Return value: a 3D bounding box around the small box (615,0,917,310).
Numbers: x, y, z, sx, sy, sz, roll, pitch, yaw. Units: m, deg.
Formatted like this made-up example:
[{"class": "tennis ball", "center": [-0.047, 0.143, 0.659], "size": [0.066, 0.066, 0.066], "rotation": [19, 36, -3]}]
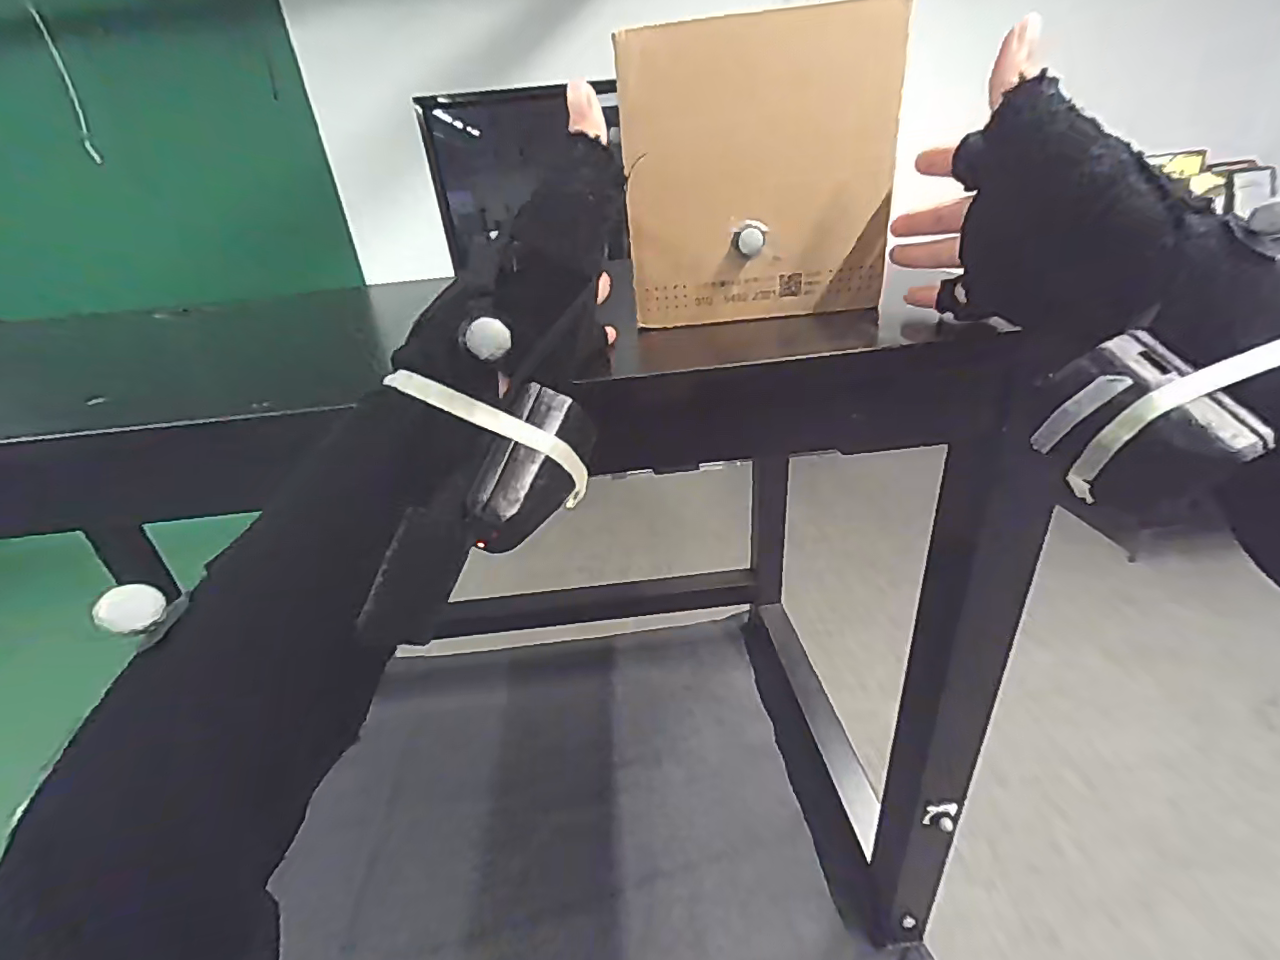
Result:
[{"class": "small box", "center": [0.077, -0.227, 0.400], "size": [0.168, 0.176, 0.179], "rotation": [-4, 28, 4]}]
